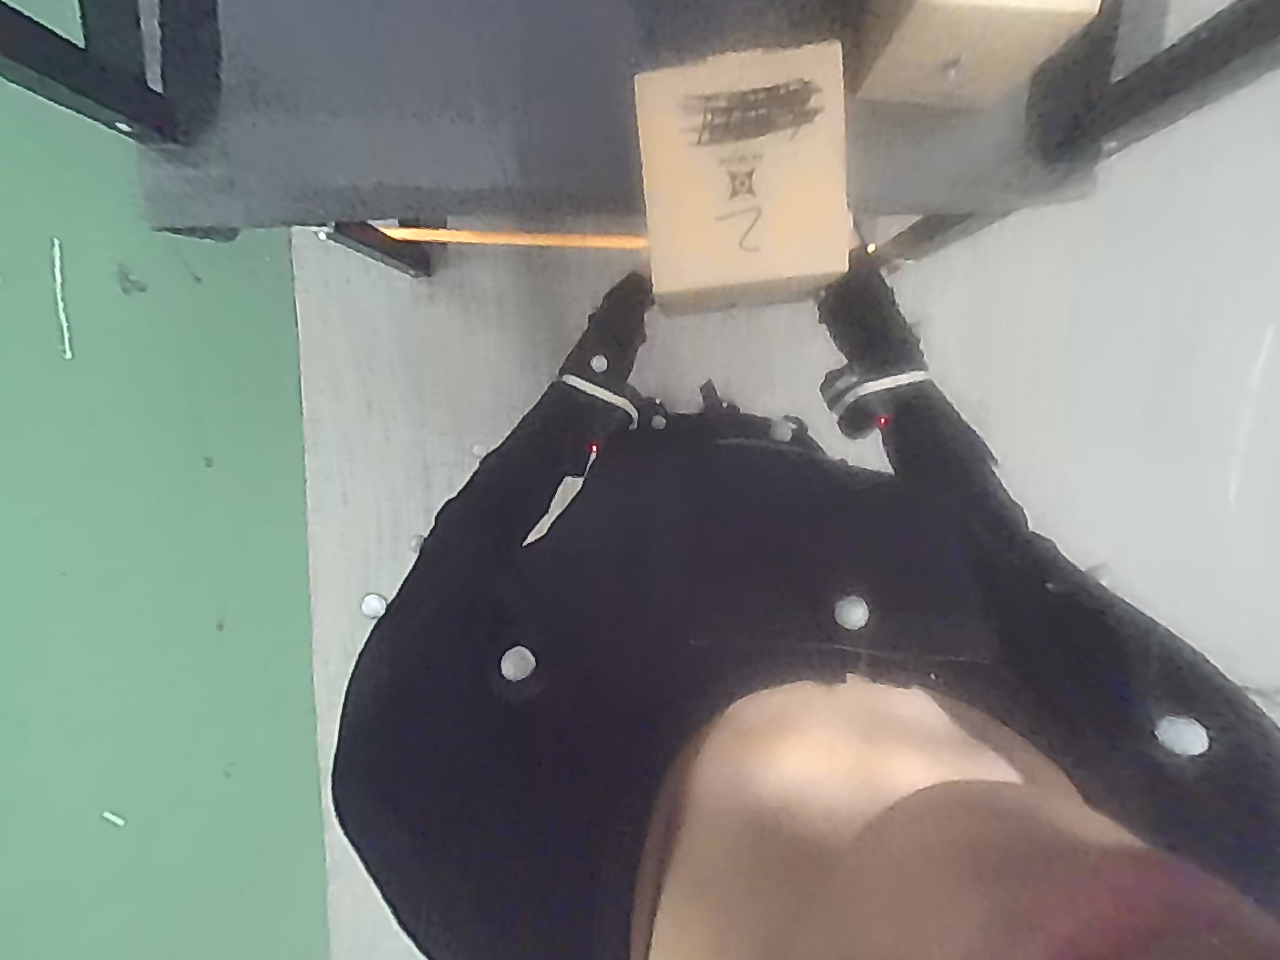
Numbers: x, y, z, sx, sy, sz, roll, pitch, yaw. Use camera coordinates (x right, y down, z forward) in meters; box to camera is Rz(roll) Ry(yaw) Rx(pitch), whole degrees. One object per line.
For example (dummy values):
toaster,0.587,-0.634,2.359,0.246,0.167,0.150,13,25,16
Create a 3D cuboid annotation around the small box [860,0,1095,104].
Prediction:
small box,0.348,-0.532,0.565,0.168,0.176,0.179,6,99,1
